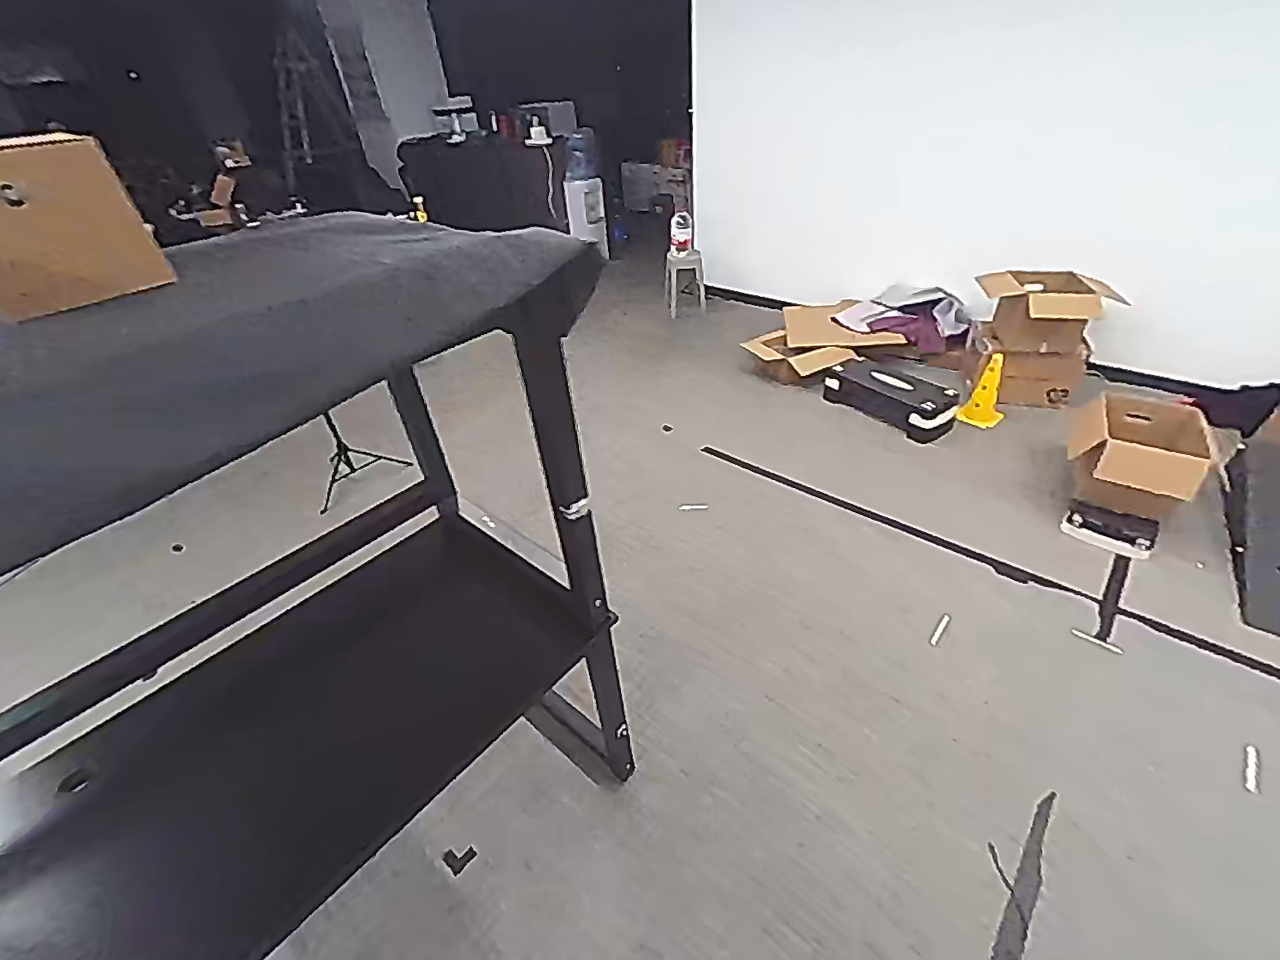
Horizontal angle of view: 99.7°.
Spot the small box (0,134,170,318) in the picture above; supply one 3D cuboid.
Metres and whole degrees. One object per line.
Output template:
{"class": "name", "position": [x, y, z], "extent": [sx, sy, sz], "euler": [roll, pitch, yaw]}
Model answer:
{"class": "small box", "position": [-0.743, -0.315, 0.664], "extent": [0.168, 0.176, 0.179], "euler": [26, 47, 33]}
